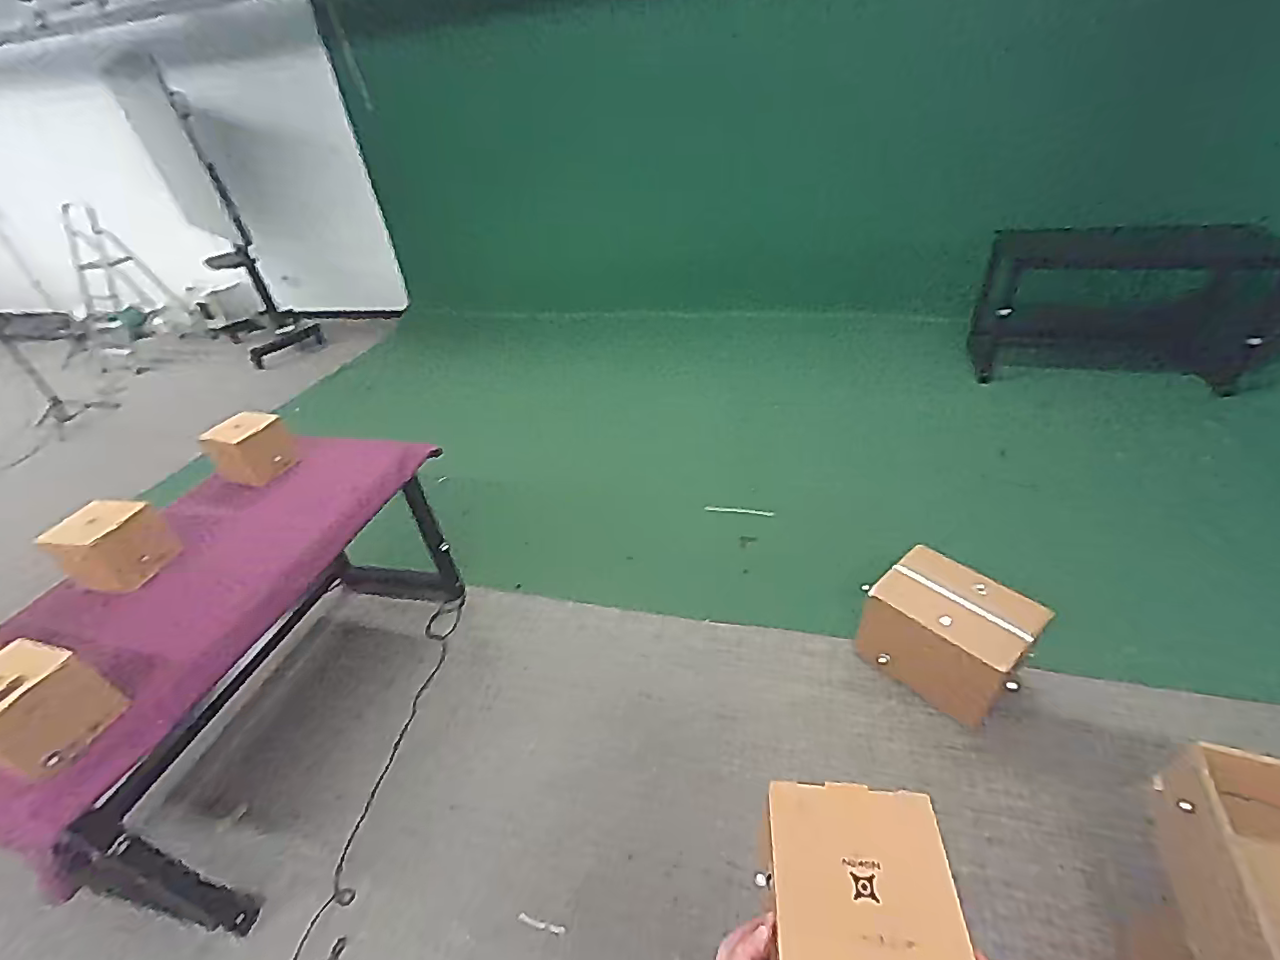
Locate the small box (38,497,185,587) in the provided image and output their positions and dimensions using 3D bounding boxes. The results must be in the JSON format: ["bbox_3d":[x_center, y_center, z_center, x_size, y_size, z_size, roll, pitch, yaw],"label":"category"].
[{"bbox_3d":[-1.358,0.161,1.402,0.179,0.176,0.168,2,37,10],"label":"small box"}]

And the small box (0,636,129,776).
[{"bbox_3d":[-1.137,0.424,1.013,0.179,0.176,0.168,5,38,17],"label":"small box"}]

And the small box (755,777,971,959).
[{"bbox_3d":[0.210,0.439,0.555,0.168,0.176,0.179,1,38,7],"label":"small box"}]

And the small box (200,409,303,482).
[{"bbox_3d":[-1.245,-0.112,1.745,0.179,0.176,0.168,9,40,18],"label":"small box"}]
